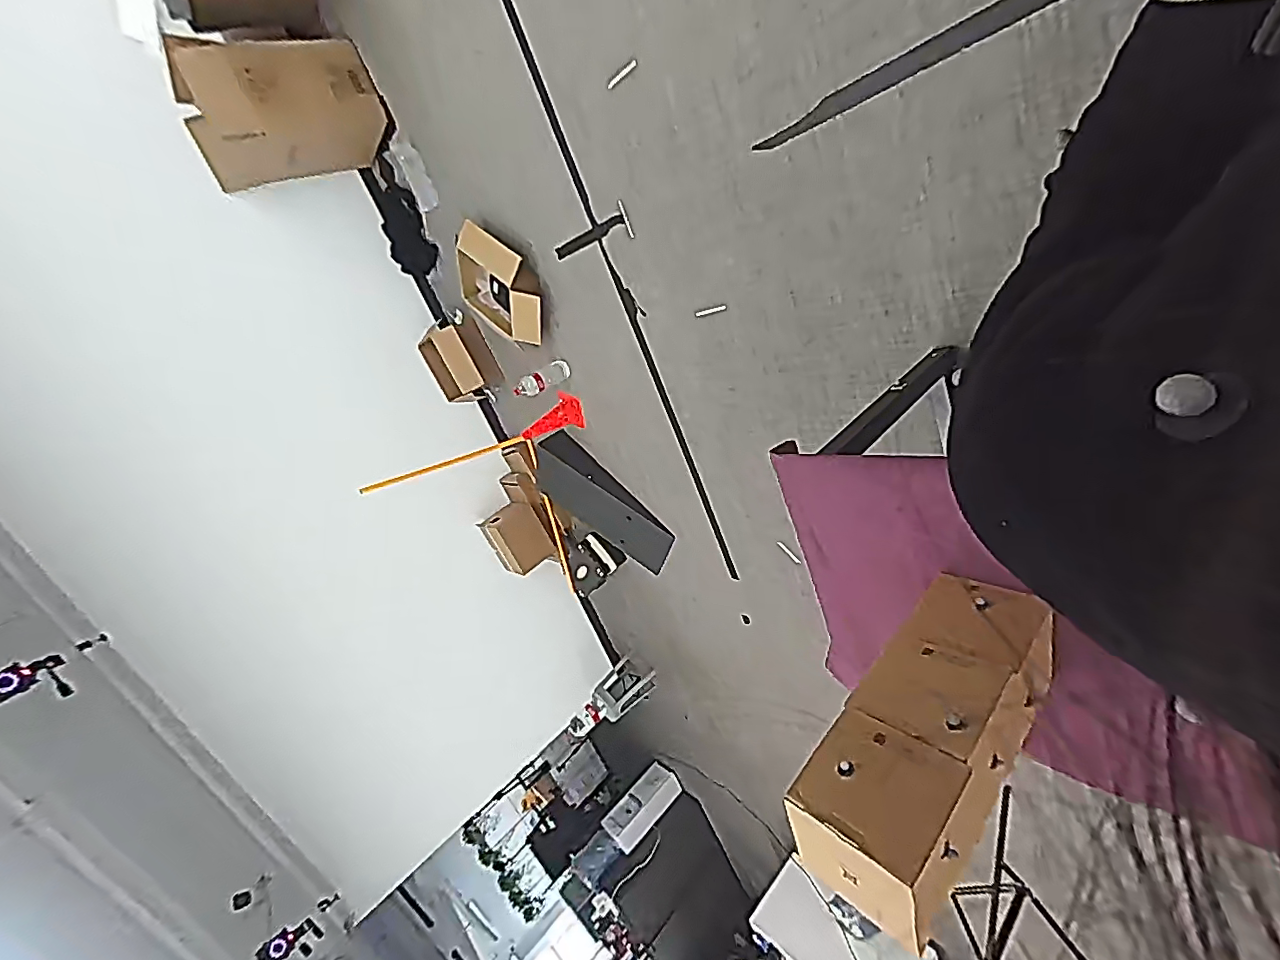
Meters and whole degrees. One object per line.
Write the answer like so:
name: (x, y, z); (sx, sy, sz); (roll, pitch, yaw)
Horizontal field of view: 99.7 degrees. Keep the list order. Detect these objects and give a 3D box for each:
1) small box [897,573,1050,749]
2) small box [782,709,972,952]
small box: (0.545, 0.284, 0.881); (0.168, 0.176, 0.179); (12, 129, 48)
small box: (0.316, 0.443, 0.712); (0.168, 0.176, 0.179); (15, 133, 49)
